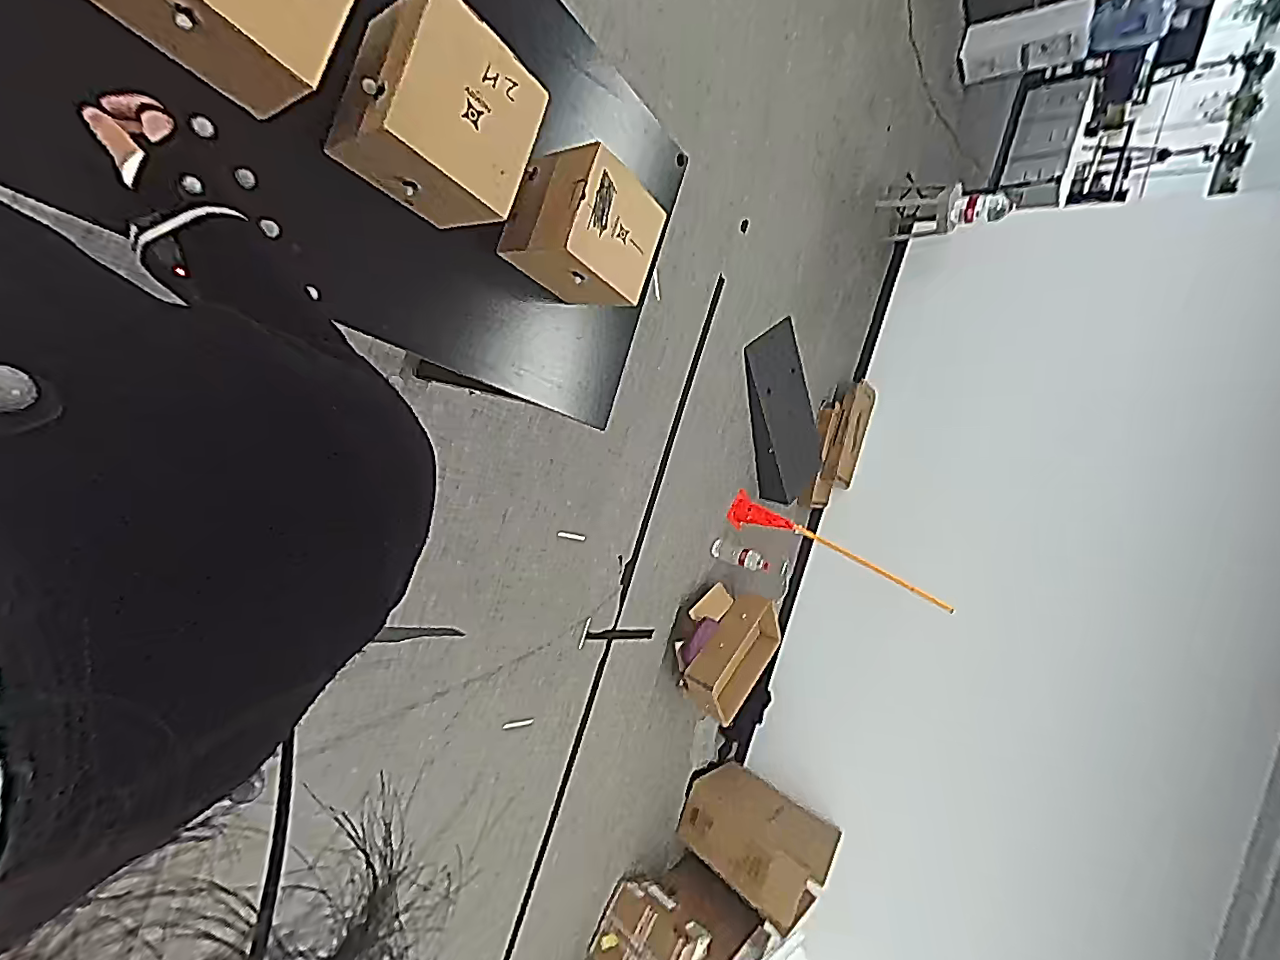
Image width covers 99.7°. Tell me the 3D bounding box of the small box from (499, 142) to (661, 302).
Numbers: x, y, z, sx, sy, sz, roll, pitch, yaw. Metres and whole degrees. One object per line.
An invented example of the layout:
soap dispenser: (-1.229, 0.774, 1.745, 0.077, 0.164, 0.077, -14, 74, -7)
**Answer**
small box: (-0.100, -0.406, 0.886, 0.179, 0.176, 0.168, 21, 86, -52)

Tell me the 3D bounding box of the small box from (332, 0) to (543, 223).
small box: (-0.258, -0.450, 0.683, 0.168, 0.176, 0.179, 21, 87, -51)
